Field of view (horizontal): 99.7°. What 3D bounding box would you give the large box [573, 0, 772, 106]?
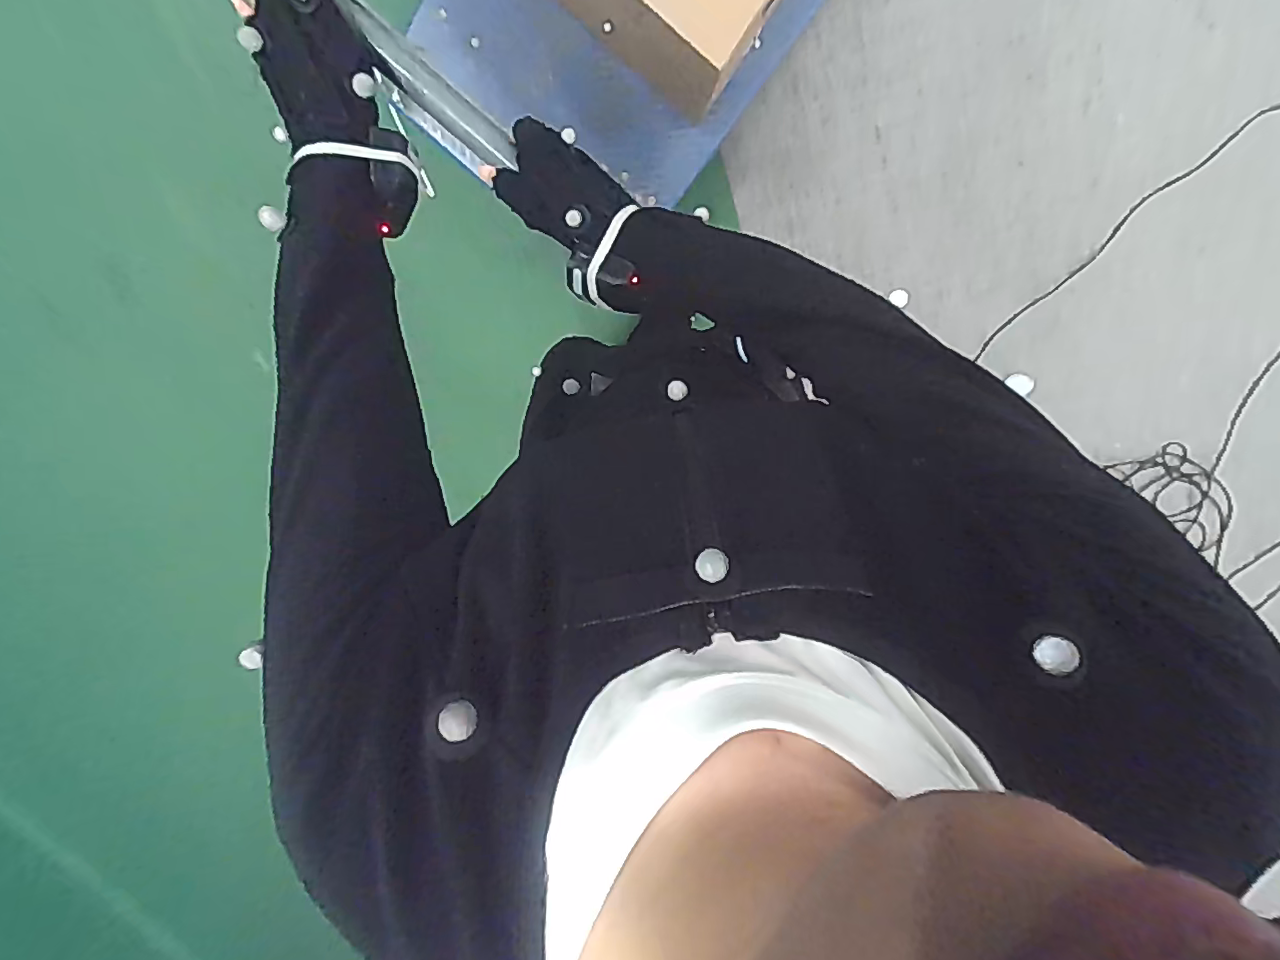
[{"bbox_3d":[0.046,-0.885,0.831,0.408,0.320,0.320,34,108,-12],"label":"large box"}]
